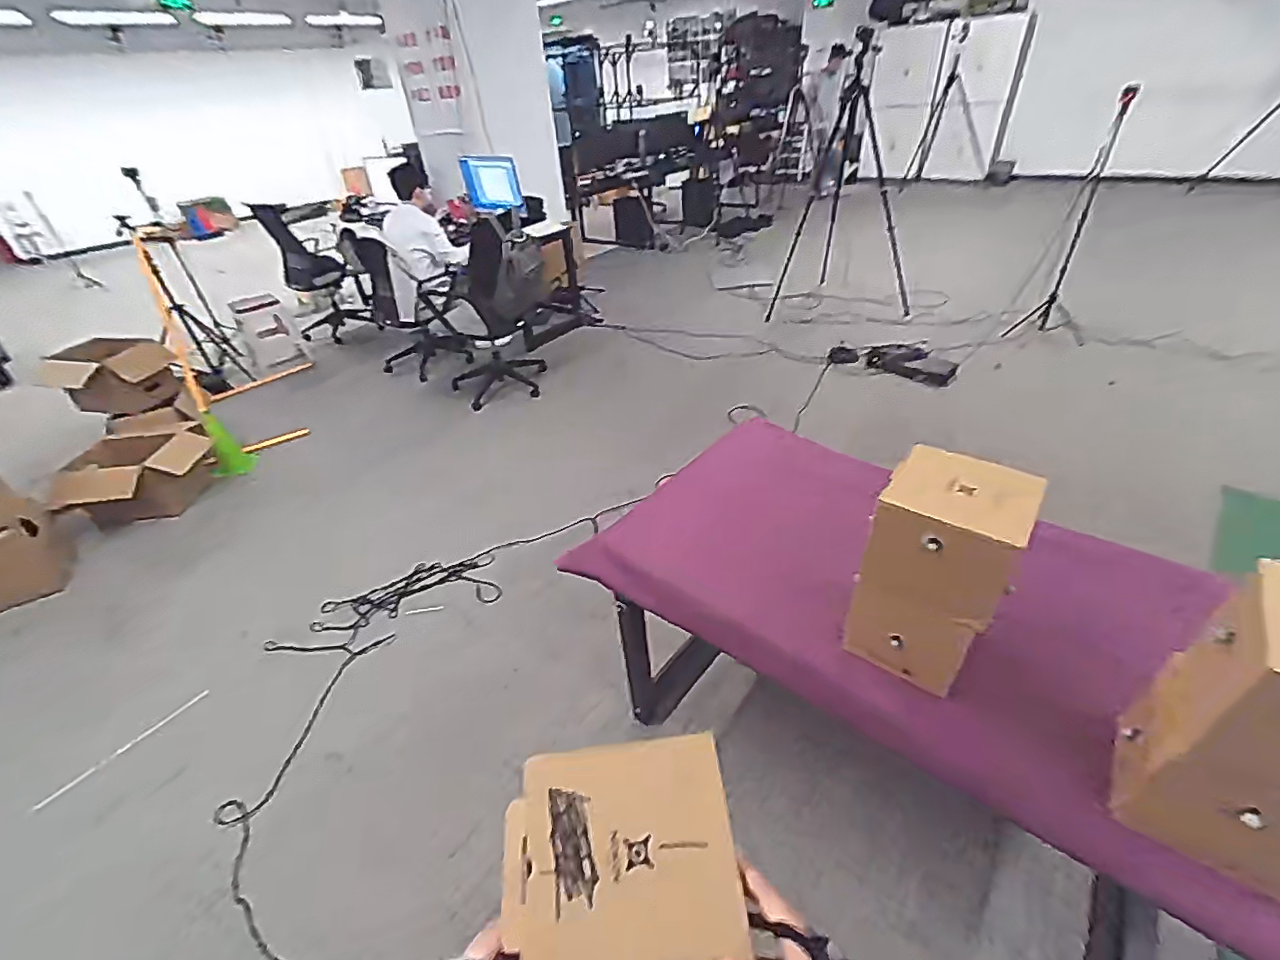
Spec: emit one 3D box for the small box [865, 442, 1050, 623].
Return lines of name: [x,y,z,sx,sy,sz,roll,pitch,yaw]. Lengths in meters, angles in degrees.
small box: [0.446,0.073,0.779,0.179,0.176,0.168,23,46,34]

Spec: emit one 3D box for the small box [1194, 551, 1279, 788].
small box: [0.707,0.210,0.546,0.168,0.176,0.179,20,44,35]

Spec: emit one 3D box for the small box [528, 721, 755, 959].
small box: [0.001,0.348,0.514,0.179,0.176,0.168,-8,52,-1]

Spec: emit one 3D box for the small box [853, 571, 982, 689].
small box: [0.462,0.199,0.881,0.168,0.176,0.179,23,45,34]

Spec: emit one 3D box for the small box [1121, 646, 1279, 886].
small box: [0.723,0.341,0.643,0.179,0.176,0.168,20,45,34]
